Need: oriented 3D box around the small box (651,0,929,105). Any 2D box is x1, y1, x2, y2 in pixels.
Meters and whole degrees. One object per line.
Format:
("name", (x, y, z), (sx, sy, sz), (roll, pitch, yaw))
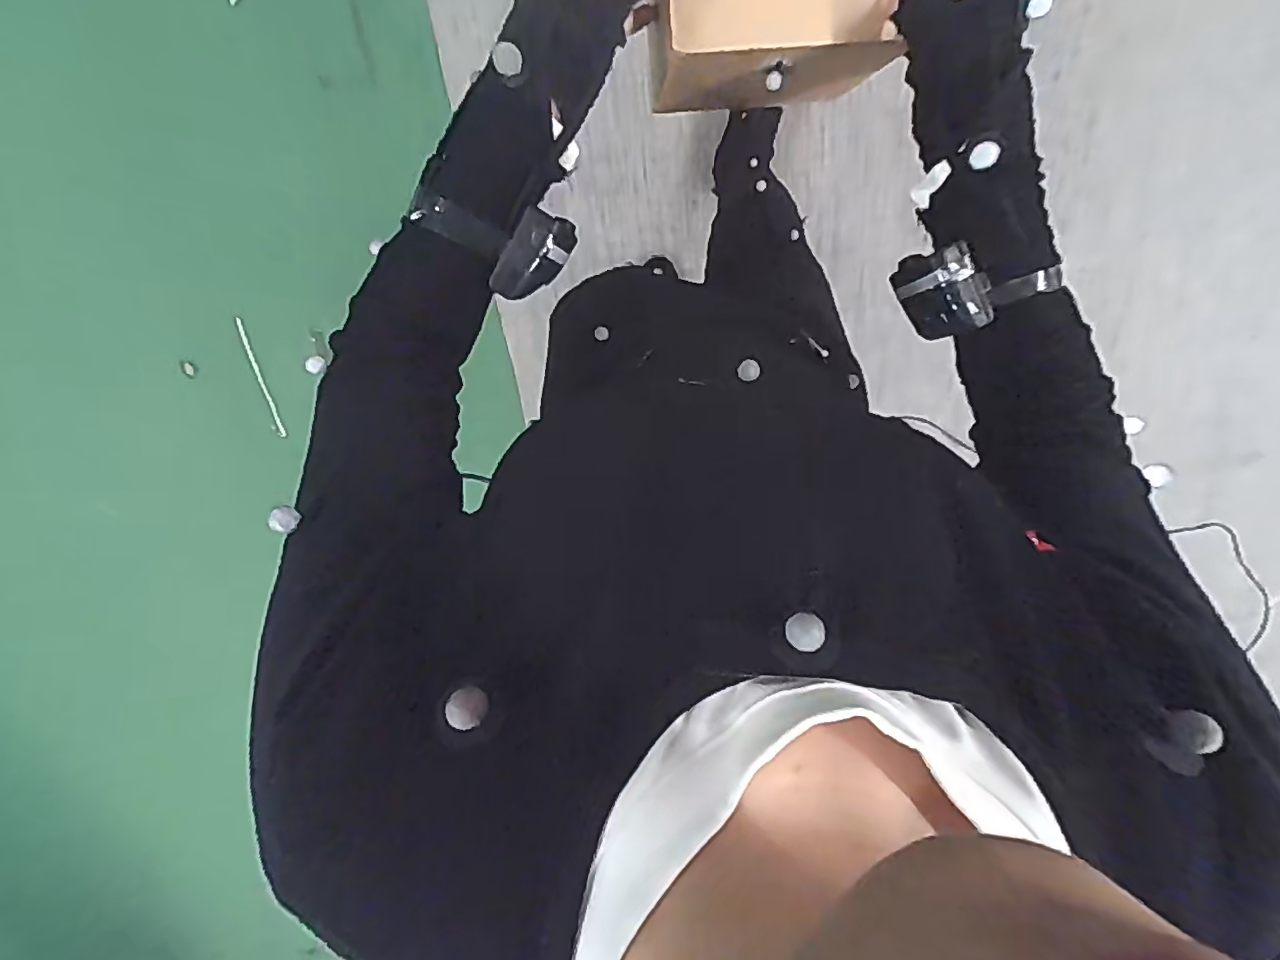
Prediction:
("small box", (0.098, -0.403, 0.408), (0.179, 0.176, 0.168), (-6, 113, -2))
